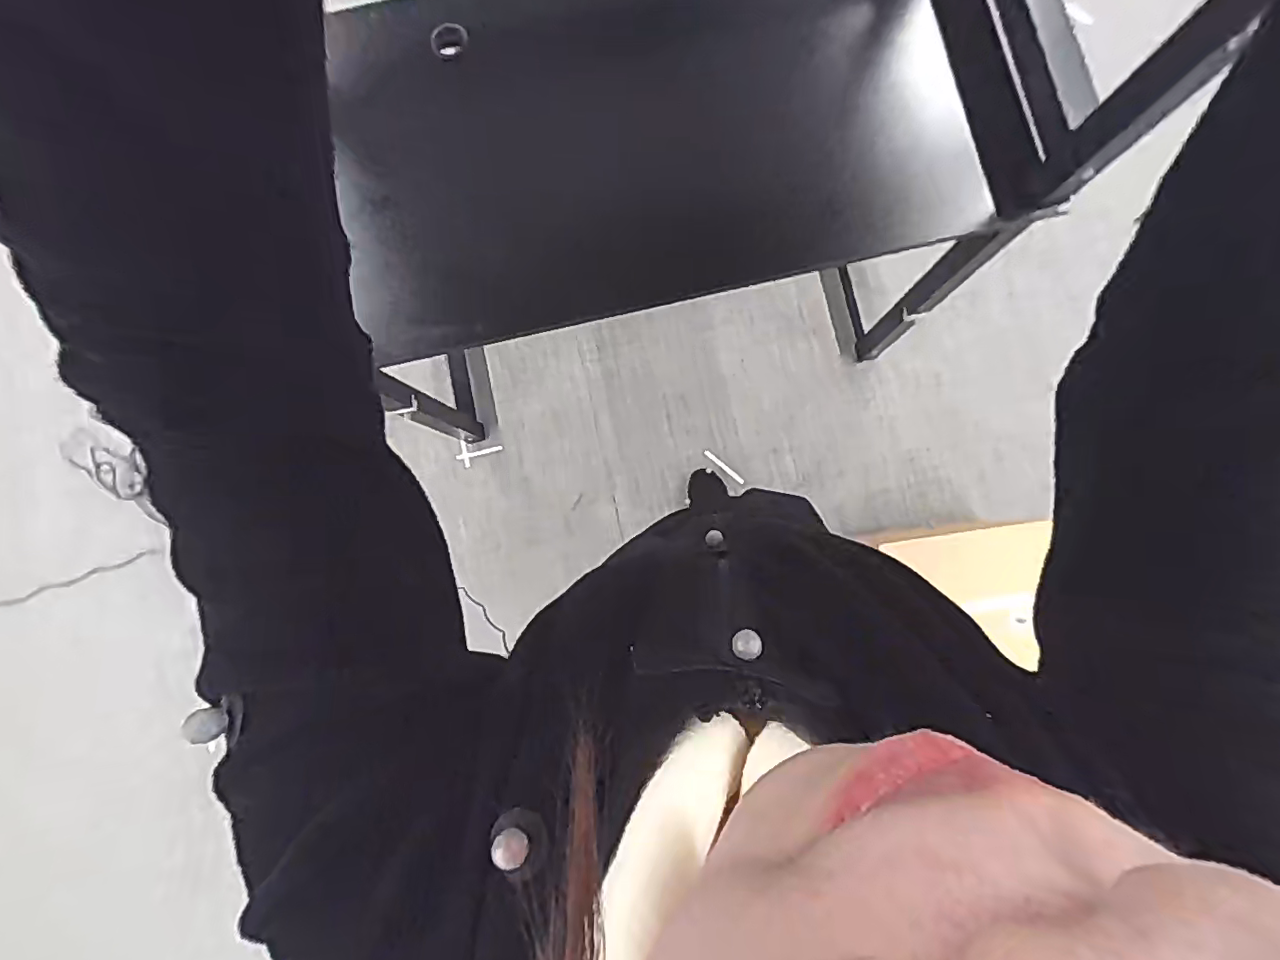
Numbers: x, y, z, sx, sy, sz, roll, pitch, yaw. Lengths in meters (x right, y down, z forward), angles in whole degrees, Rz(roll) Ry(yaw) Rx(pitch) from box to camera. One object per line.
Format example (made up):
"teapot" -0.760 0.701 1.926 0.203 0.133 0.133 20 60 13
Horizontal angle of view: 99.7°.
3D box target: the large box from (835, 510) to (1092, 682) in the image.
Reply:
"large box" 0.740 0.261 1.305 0.408 0.320 0.320 -9 86 2
